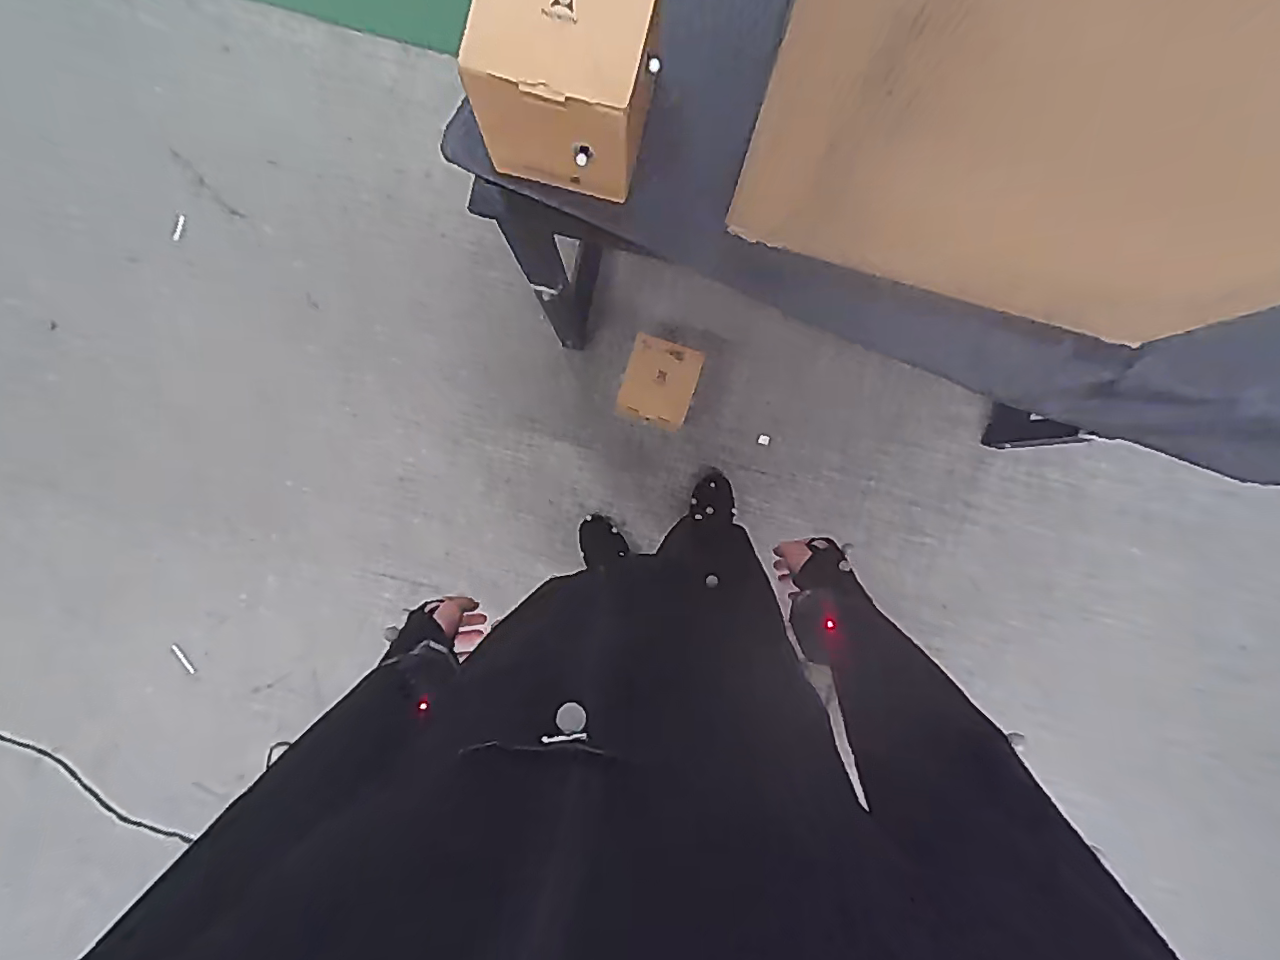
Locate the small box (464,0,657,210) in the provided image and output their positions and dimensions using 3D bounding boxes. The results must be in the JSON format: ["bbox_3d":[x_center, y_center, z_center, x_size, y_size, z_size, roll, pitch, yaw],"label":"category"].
[{"bbox_3d":[-0.079,-0.440,0.607,0.168,0.176,0.179,12,86,-3],"label":"small box"}]
